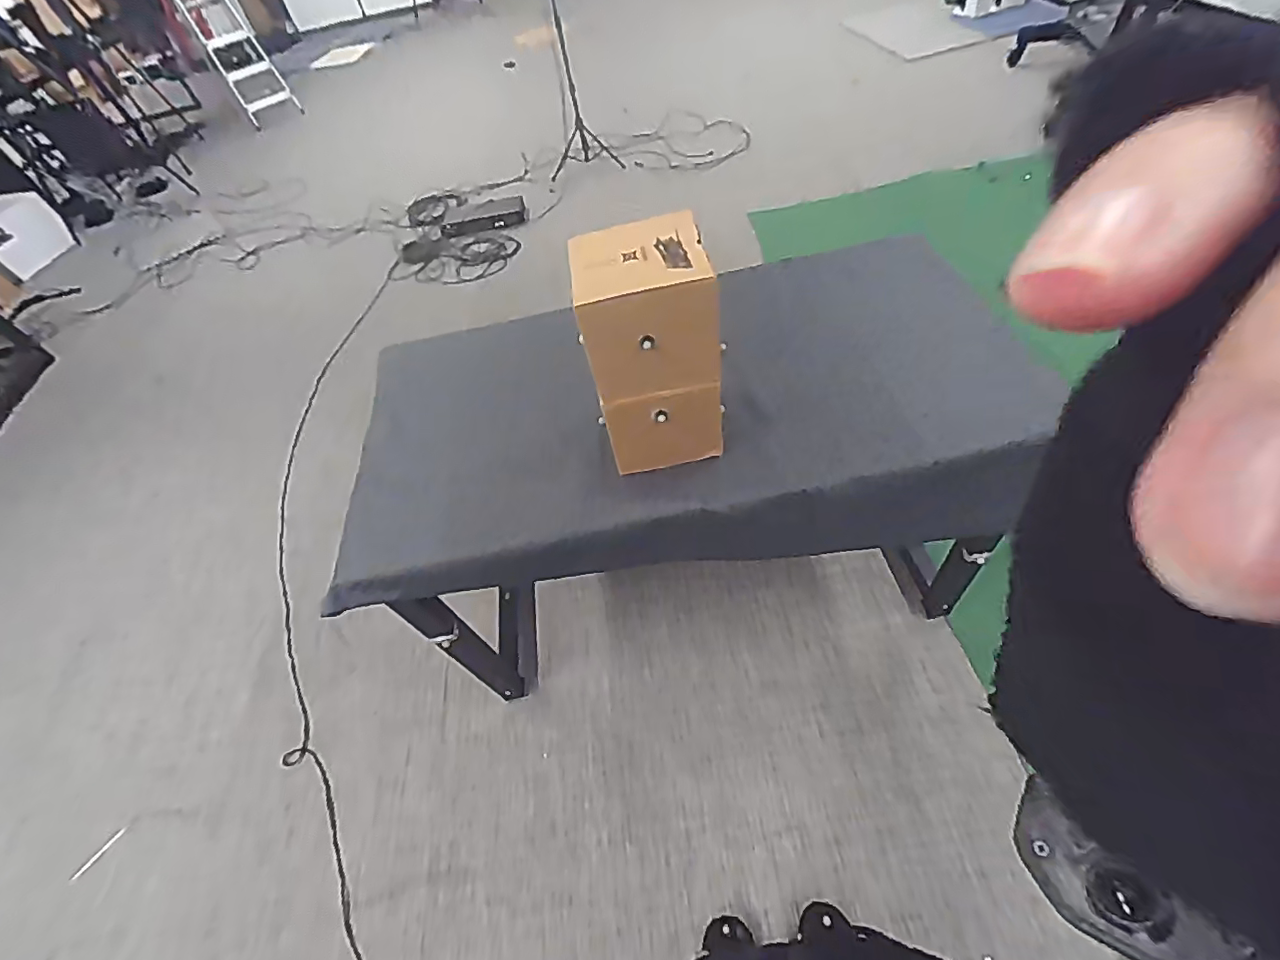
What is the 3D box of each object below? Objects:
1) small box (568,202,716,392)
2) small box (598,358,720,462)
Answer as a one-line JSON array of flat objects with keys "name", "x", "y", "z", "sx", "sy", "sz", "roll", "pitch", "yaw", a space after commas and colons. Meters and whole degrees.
[{"name": "small box", "x": 0.007, "y": -0.247, "z": 0.749, "sx": 0.179, "sy": 0.176, "sz": 0.168, "roll": -11, "pitch": 54, "yaw": 4}, {"name": "small box", "x": 0.029, "y": -0.149, "z": 0.879, "sx": 0.179, "sy": 0.176, "sz": 0.168, "roll": -11, "pitch": 54, "yaw": 1}]
